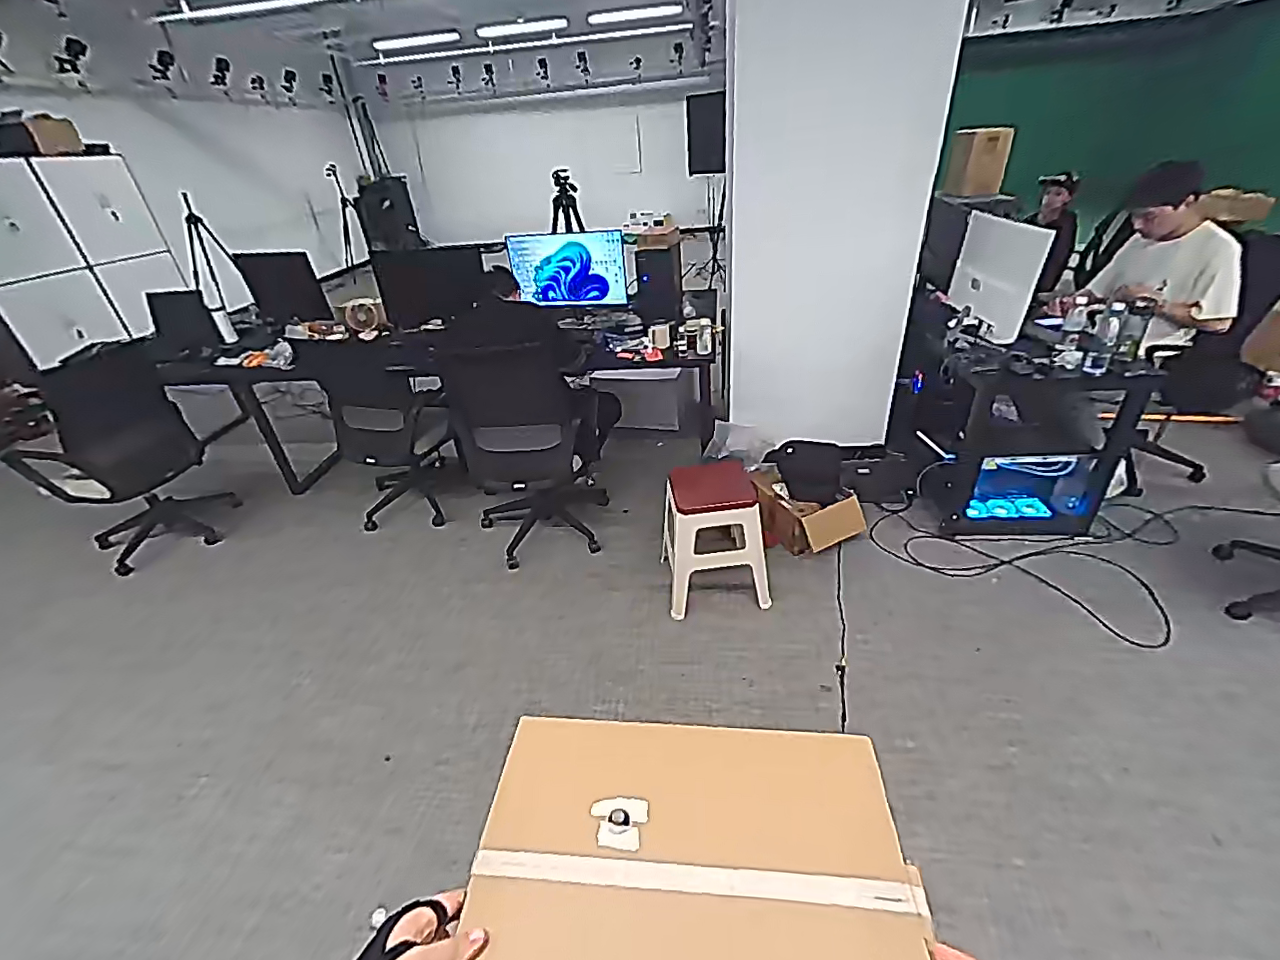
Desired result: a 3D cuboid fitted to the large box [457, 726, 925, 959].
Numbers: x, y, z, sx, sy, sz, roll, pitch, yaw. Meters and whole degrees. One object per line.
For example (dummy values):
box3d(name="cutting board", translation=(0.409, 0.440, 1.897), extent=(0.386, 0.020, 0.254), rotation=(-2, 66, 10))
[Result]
box3d(name="large box", translation=(0.058, 0.500, 0.587), extent=(0.408, 0.320, 0.320), rotation=(-2, 32, 8))
